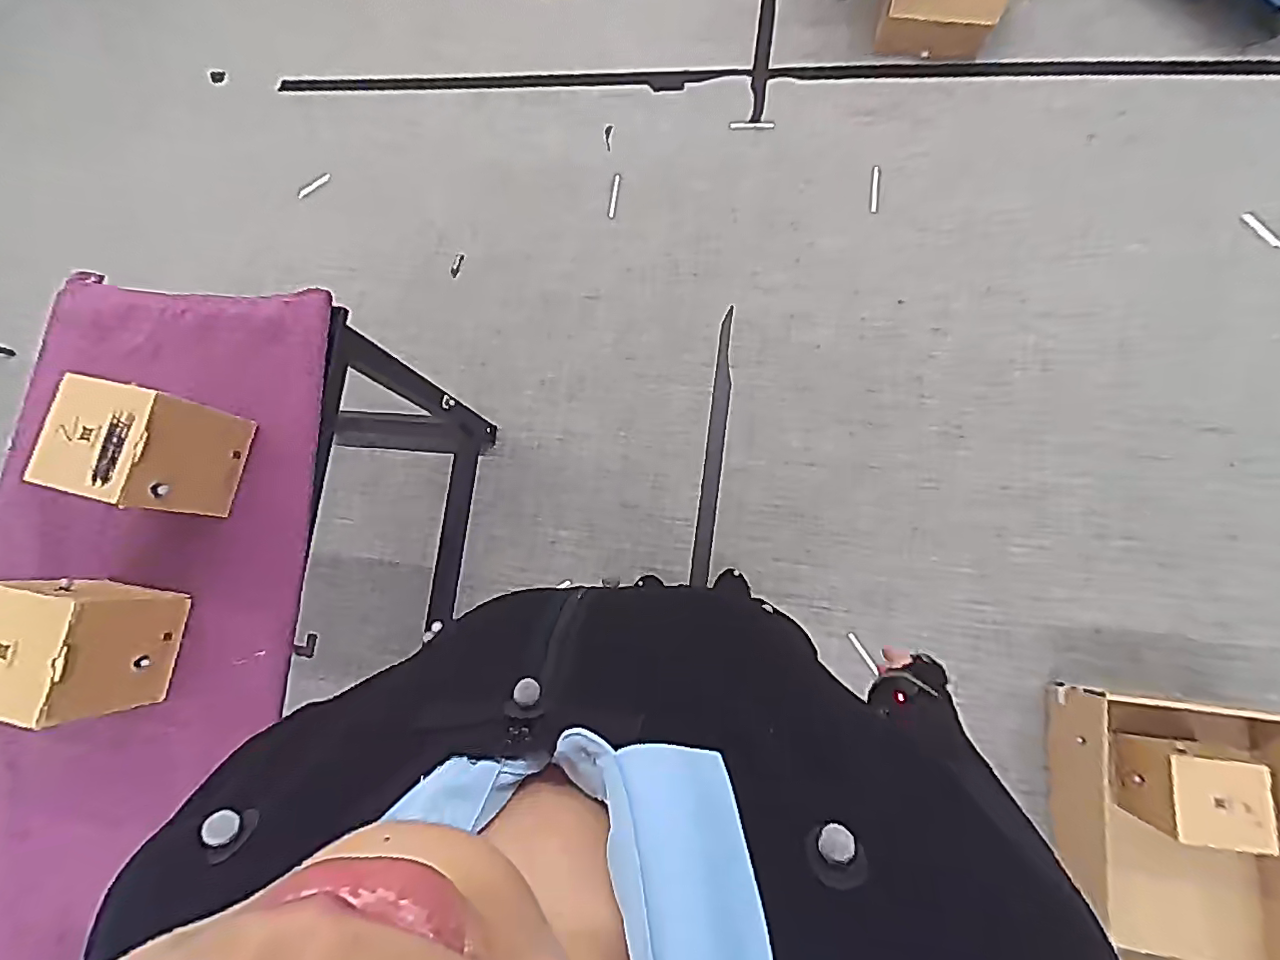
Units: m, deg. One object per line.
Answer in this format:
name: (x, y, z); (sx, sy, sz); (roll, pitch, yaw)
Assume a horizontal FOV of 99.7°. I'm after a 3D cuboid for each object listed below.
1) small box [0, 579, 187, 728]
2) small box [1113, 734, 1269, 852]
small box: (-0.832, 0.241, 0.791); (0.179, 0.176, 0.168); (7, 80, 8)
small box: (1.164, 0.660, 1.162); (0.179, 0.176, 0.168); (3, 81, 8)
